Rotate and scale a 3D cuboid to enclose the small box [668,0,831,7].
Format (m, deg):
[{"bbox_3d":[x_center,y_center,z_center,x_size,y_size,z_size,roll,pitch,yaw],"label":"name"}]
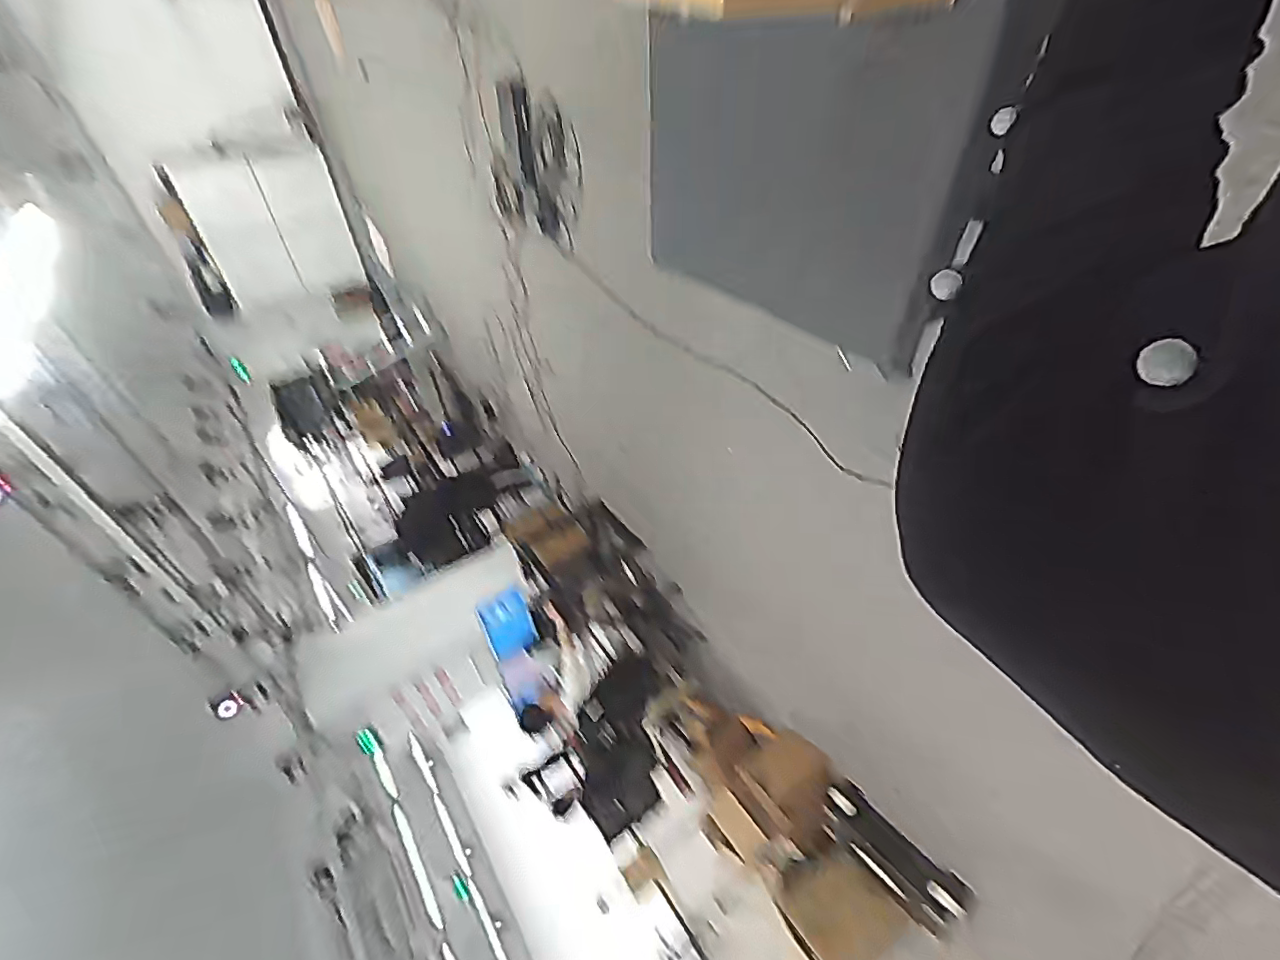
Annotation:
[{"bbox_3d":[0.085,-0.527,0.470,0.179,0.176,0.168,48,151,36],"label":"small box"}]
